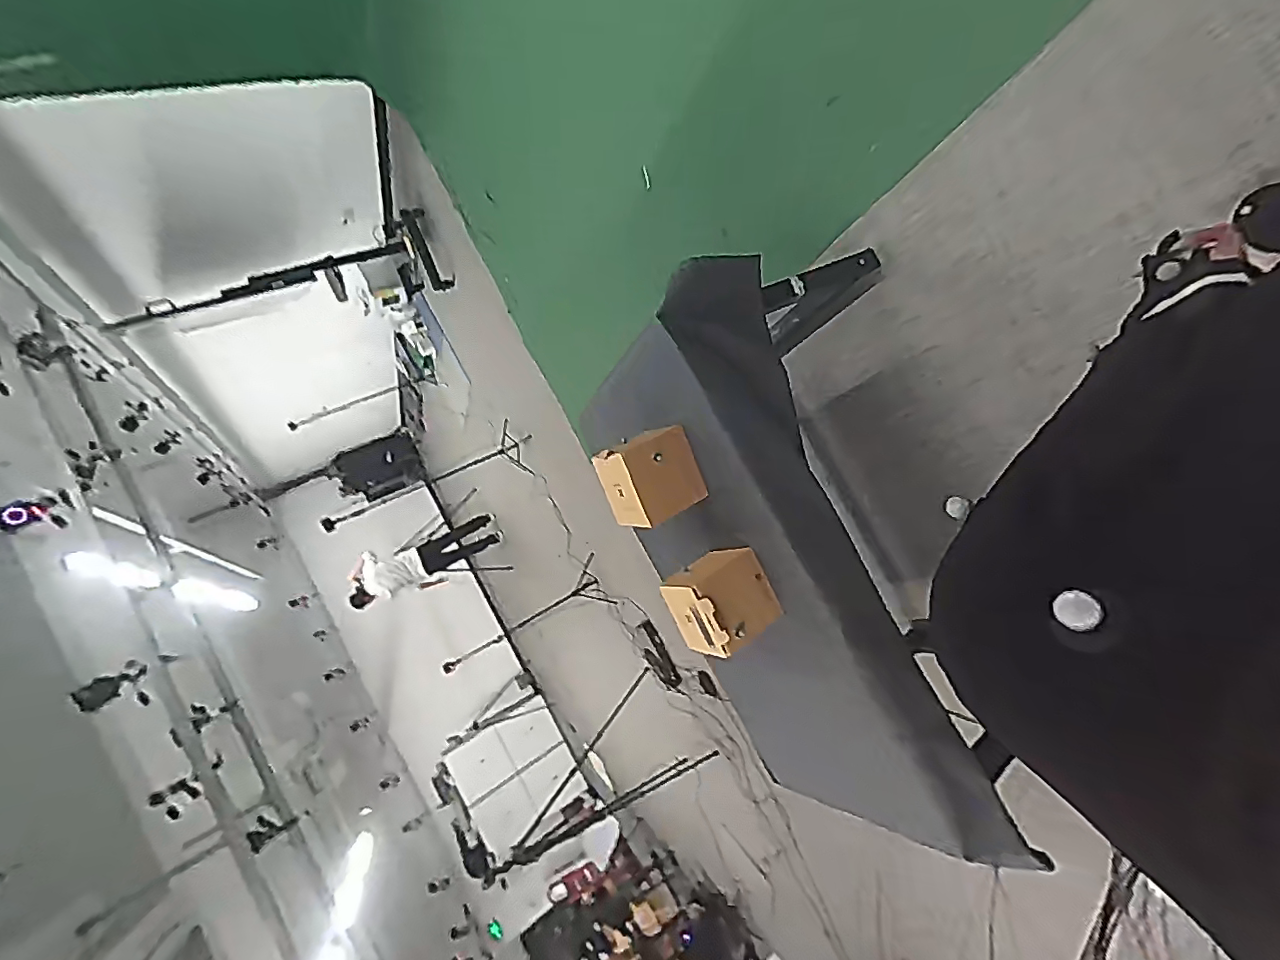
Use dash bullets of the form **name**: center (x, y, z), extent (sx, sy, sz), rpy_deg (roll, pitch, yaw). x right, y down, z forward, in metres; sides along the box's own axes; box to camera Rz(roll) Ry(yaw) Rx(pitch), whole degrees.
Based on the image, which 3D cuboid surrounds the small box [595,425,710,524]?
- **small box**: center (0.030, -0.017, 1.234), extent (0.168, 0.176, 0.179), rpy_deg (-3, 113, 63)
